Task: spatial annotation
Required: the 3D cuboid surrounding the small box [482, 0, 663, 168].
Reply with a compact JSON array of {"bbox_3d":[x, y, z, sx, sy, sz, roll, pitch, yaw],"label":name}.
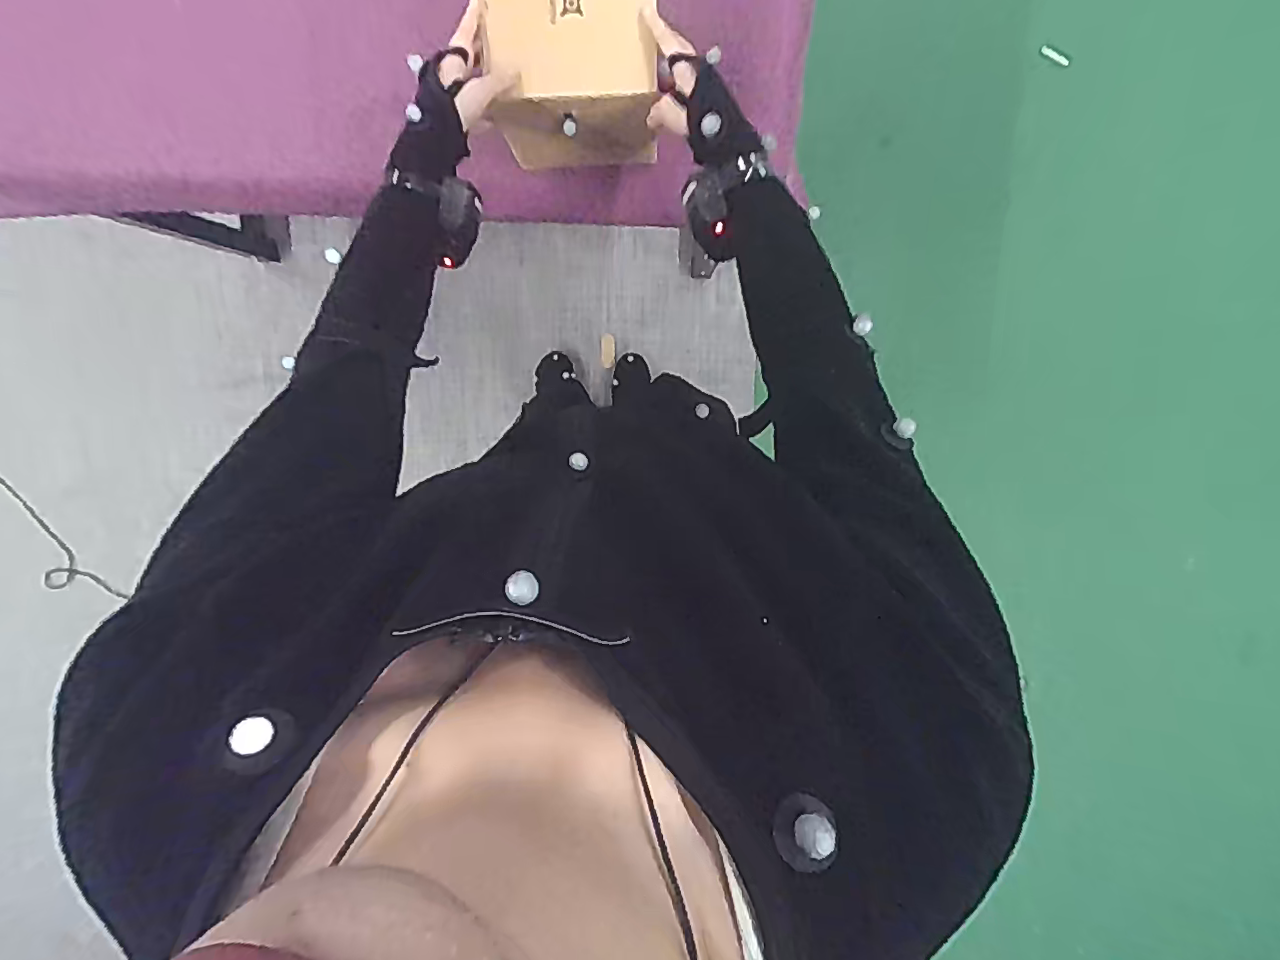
[{"bbox_3d":[-0.064,-0.469,0.603,0.179,0.176,0.168,-1,100,3],"label":"small box"}]
